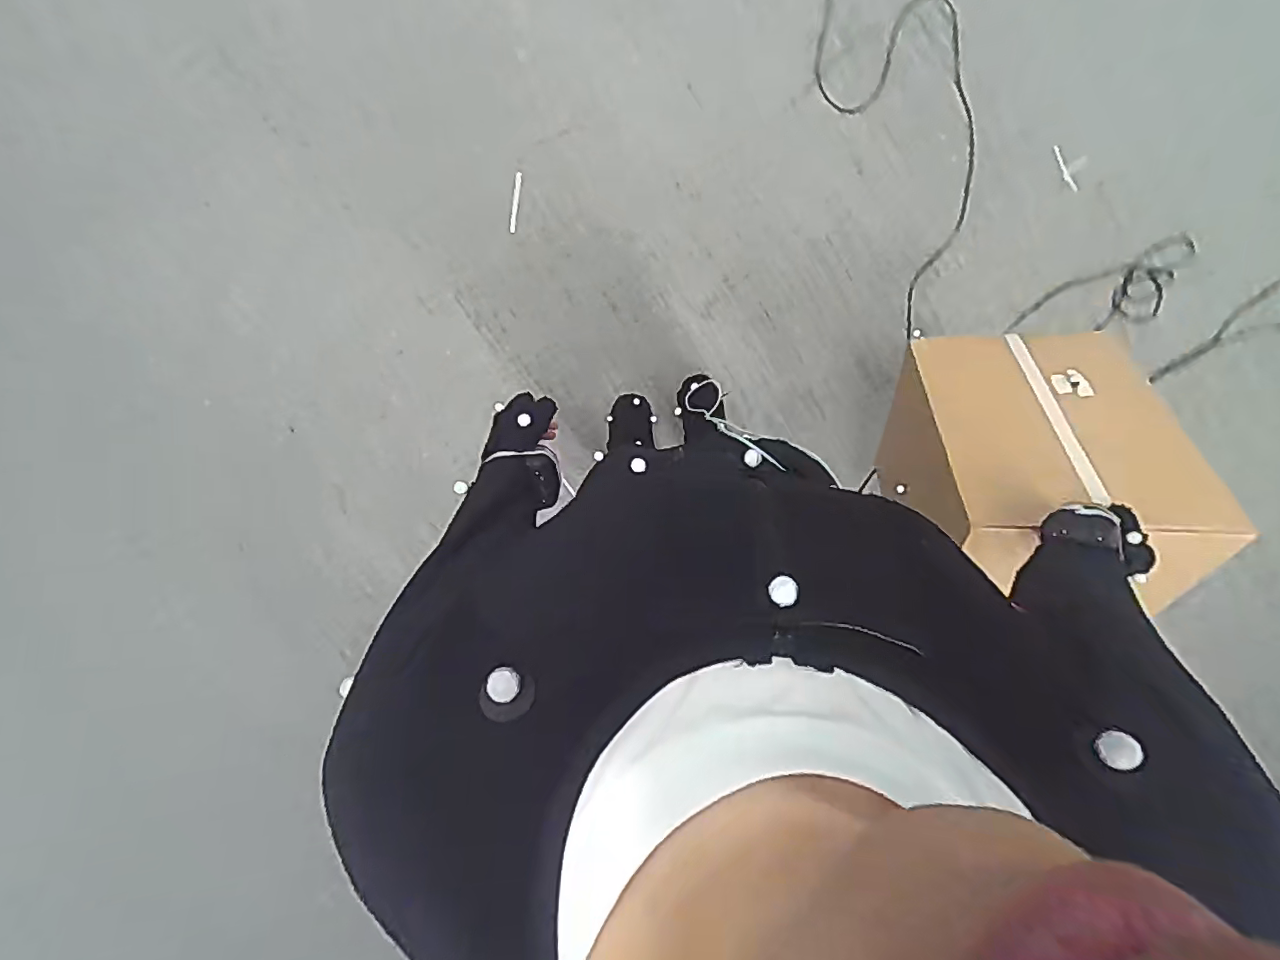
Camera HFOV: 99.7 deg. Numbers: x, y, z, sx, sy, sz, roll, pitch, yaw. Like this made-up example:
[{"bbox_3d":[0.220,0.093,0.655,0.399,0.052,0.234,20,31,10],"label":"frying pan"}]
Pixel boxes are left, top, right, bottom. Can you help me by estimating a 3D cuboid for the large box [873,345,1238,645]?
[{"bbox_3d":[0.610,0.022,0.909,0.320,0.408,0.320,2,138,9],"label":"large box"}]
